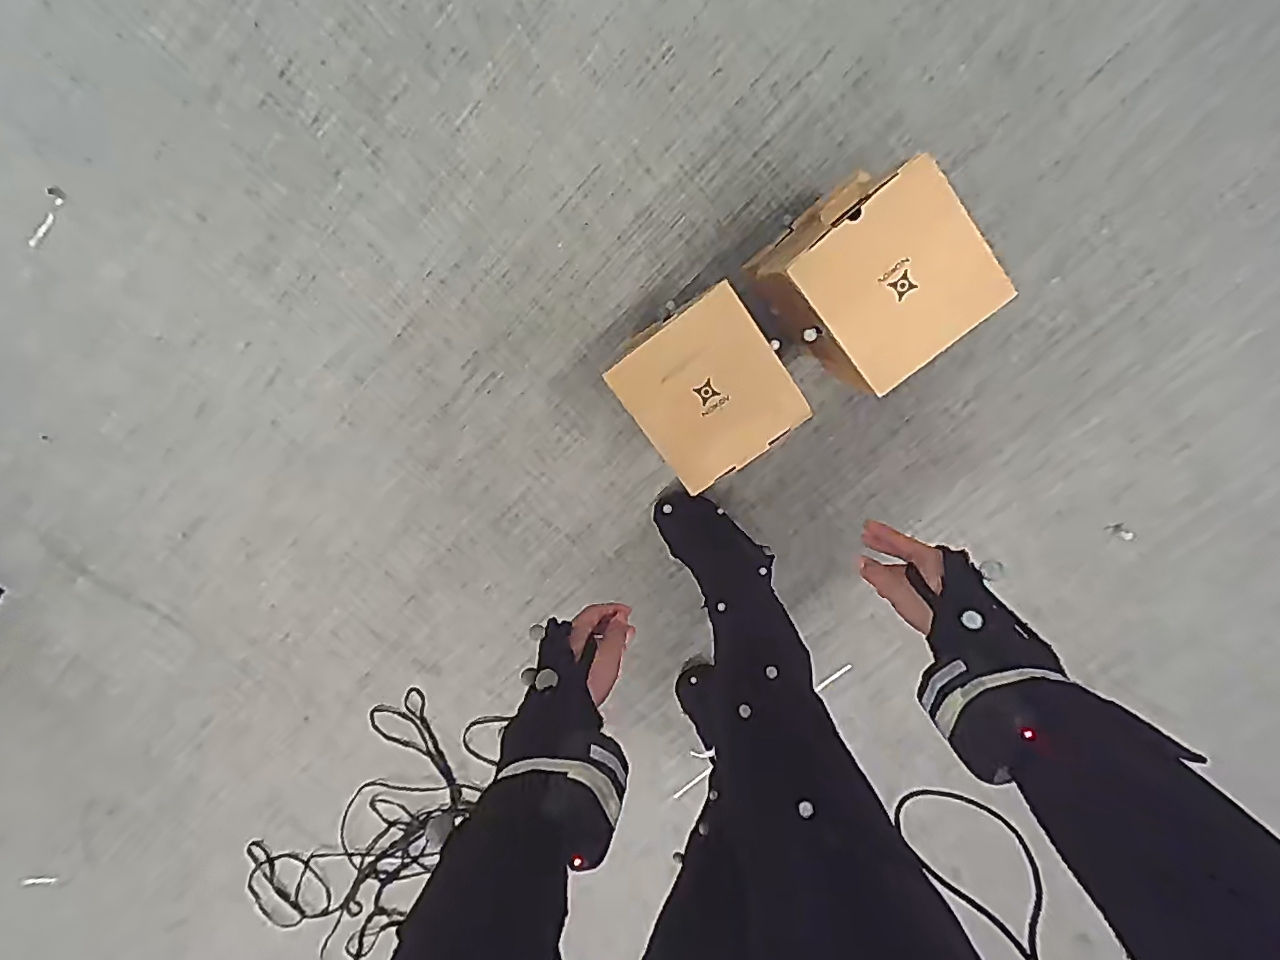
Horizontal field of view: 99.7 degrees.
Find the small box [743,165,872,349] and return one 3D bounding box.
[{"bbox_3d":[0.267,-0.298,0.770,0.168,0.176,0.179,-39,102,12],"label":"small box"}]

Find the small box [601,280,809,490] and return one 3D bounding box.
[{"bbox_3d":[0.075,-0.121,0.663,0.168,0.176,0.179,-36,103,11],"label":"small box"}]

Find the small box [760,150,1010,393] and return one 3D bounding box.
[{"bbox_3d":[0.263,-0.229,0.621,0.168,0.176,0.179,-39,103,13],"label":"small box"}]
